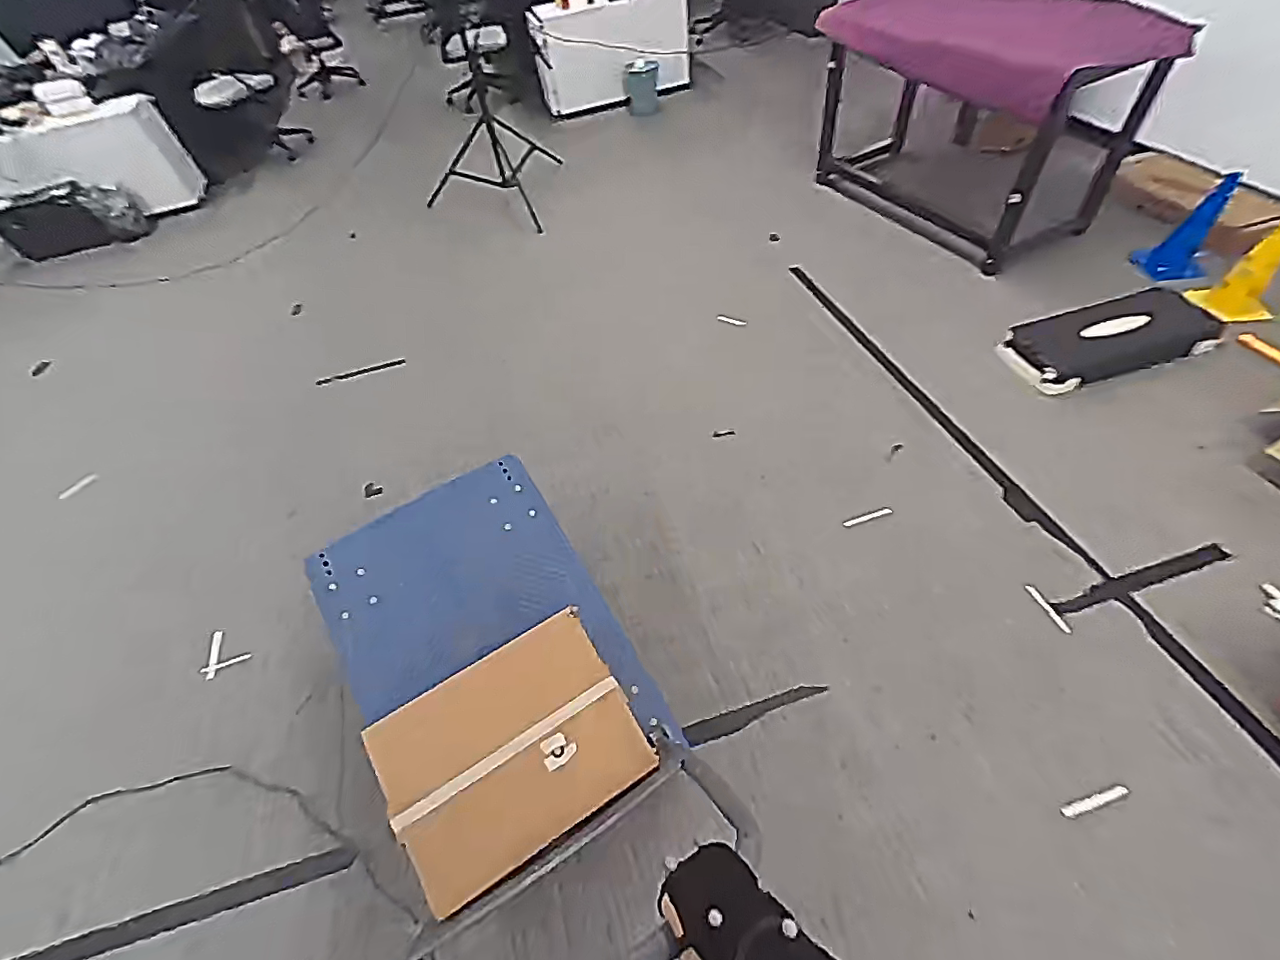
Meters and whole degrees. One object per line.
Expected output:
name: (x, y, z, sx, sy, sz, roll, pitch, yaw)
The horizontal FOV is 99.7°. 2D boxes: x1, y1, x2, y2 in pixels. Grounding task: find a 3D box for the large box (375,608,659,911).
large box: (-0.221, 0.517, 1.067, 0.408, 0.320, 0.320, -30, 72, -16)
